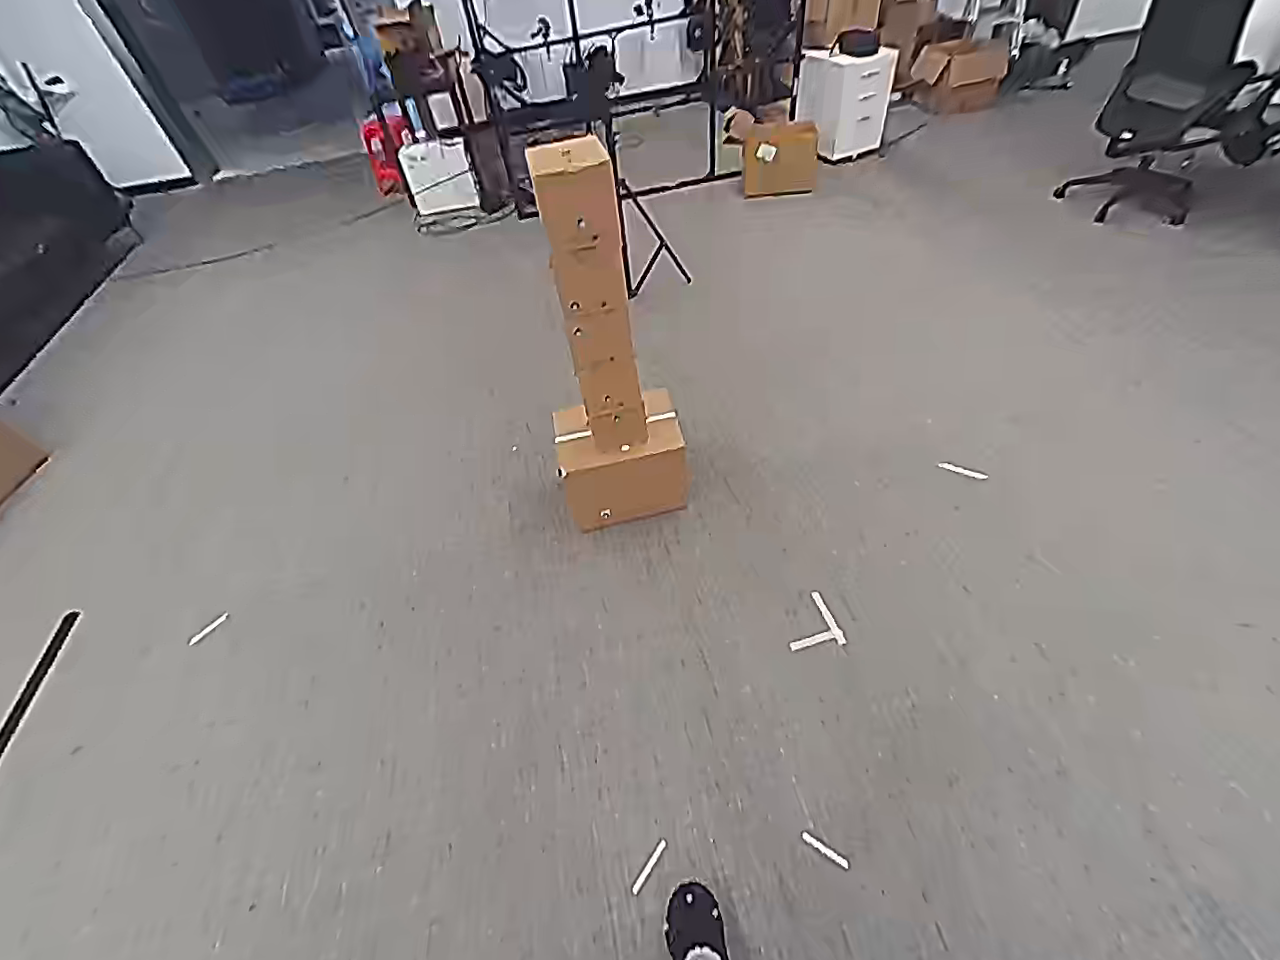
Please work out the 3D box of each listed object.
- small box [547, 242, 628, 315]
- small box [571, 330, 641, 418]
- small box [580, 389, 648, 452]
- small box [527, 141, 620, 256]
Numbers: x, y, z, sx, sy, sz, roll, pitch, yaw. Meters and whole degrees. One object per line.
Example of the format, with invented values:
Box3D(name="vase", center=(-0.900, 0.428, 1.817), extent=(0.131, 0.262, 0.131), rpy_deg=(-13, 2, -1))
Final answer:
Box3D(name="small box", center=(-0.131, -0.524, 1.339), extent=(0.168, 0.176, 0.179), rpy_deg=(-12, 48, -3))
Box3D(name="small box", center=(-0.099, -0.310, 1.586), extent=(0.168, 0.176, 0.179), rpy_deg=(-14, 49, -4))
Box3D(name="small box", center=(-0.080, -0.209, 1.712), extent=(0.179, 0.176, 0.168), rpy_deg=(-14, 49, -6))
Box3D(name="small box", center=(-0.147, -0.631, 1.215), extent=(0.168, 0.176, 0.179), rpy_deg=(-15, 49, -4))
